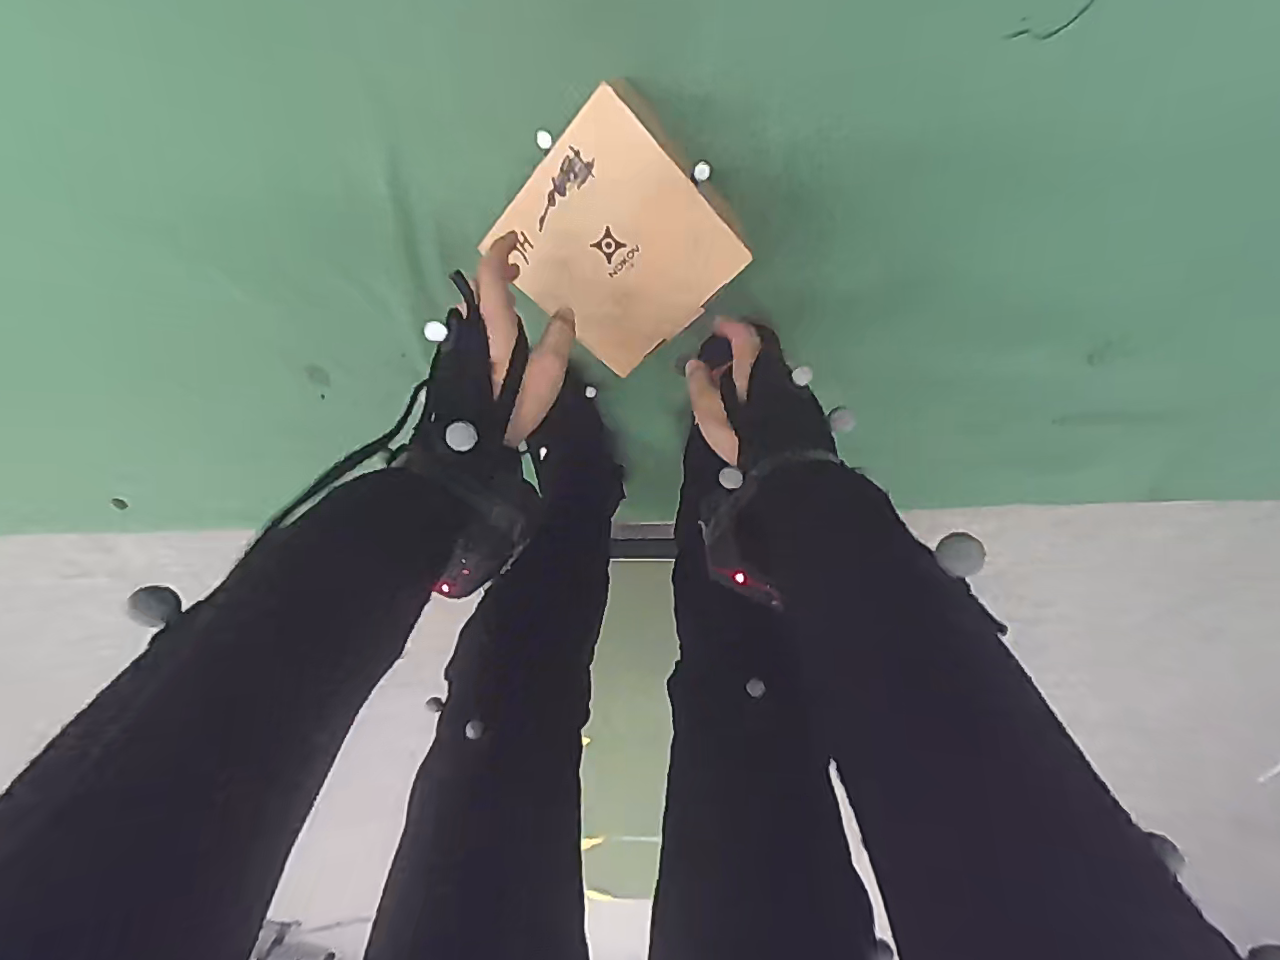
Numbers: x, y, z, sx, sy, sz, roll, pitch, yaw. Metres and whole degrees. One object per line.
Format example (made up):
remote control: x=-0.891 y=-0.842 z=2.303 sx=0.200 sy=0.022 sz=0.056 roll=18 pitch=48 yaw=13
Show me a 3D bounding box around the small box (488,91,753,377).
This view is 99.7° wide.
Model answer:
small box: x=-0.013 y=-0.243 z=0.531 sx=0.179 sy=0.176 sz=0.168 roll=39 pitch=120 yaw=-25
